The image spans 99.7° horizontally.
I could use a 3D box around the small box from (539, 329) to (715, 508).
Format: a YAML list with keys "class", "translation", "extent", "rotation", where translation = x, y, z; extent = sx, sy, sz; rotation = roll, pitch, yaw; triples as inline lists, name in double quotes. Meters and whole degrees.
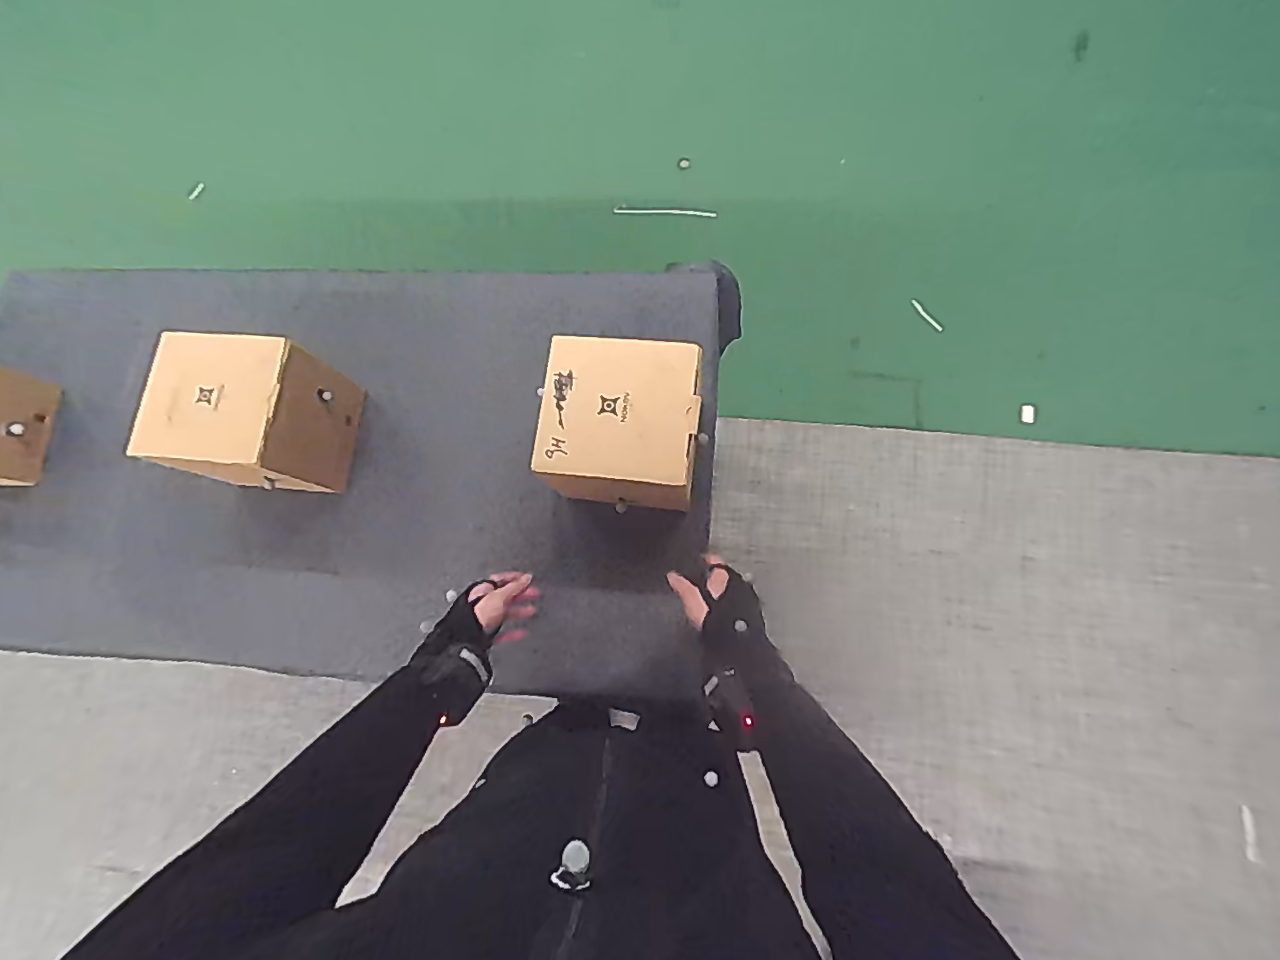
- class: "small box"
  translation: [-0.010, -0.065, 0.671]
  extent: [0.179, 0.176, 0.168]
  rotation: [7, 77, 4]

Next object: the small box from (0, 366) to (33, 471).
- class: "small box"
  translation: [-1.010, -0.098, 0.727]
  extent: [0.179, 0.176, 0.168]
  rotation: [2, 77, 2]

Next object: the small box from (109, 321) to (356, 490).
- class: "small box"
  translation: [-0.507, -0.087, 0.704]
  extent: [0.179, 0.176, 0.168]
  rotation: [4, 76, 5]
